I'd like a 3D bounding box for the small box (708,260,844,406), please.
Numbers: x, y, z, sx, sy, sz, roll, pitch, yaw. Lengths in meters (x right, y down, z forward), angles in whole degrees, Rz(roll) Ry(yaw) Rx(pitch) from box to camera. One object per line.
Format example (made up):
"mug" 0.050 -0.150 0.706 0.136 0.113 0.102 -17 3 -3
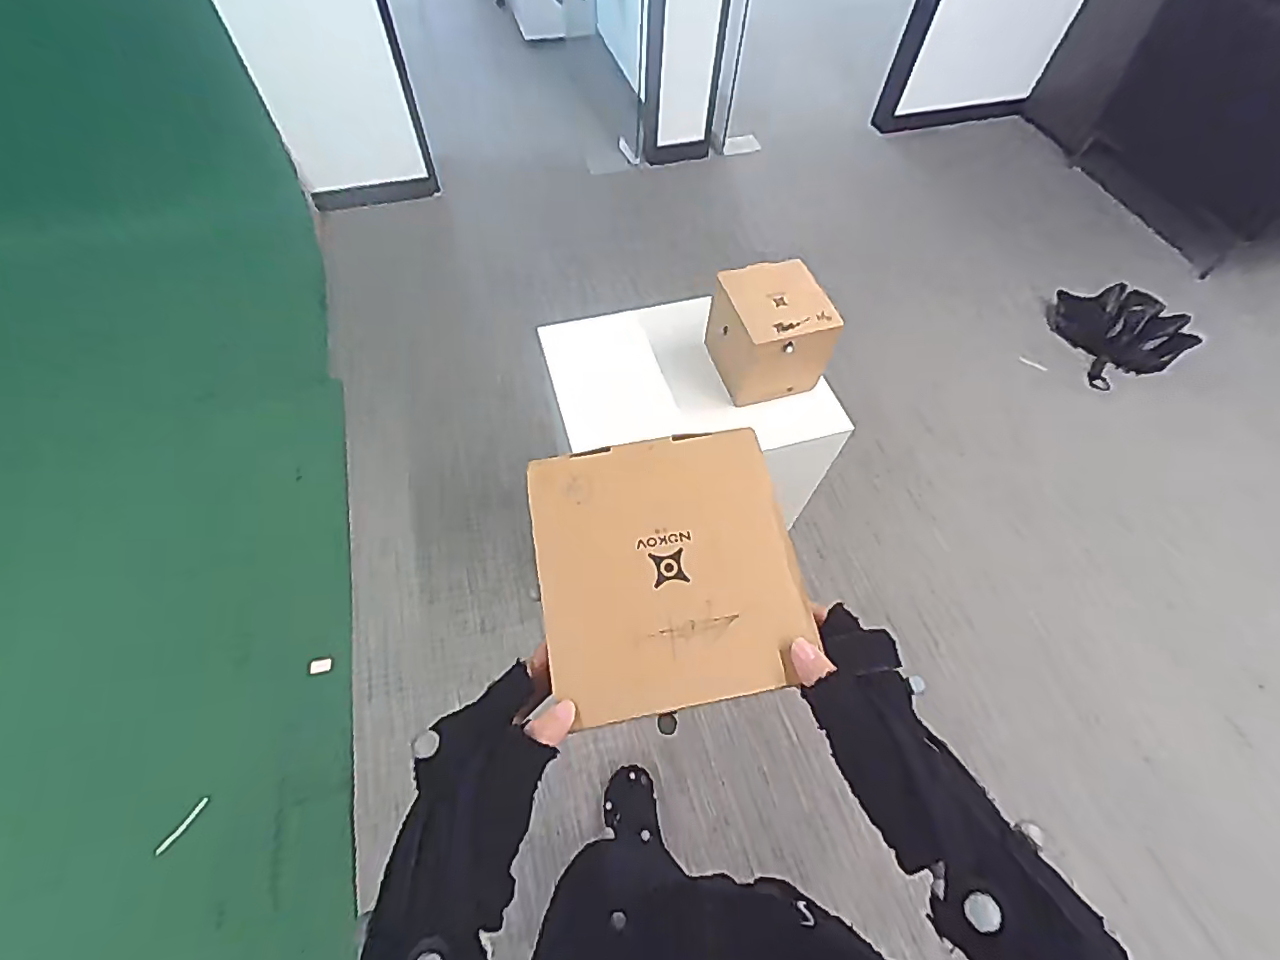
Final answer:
"small box" 0.233 -0.264 0.983 0.168 0.176 0.179 -15 61 -9

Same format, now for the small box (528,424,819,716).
"small box" 0.013 0.080 0.428 0.168 0.176 0.179 -10 68 -5
